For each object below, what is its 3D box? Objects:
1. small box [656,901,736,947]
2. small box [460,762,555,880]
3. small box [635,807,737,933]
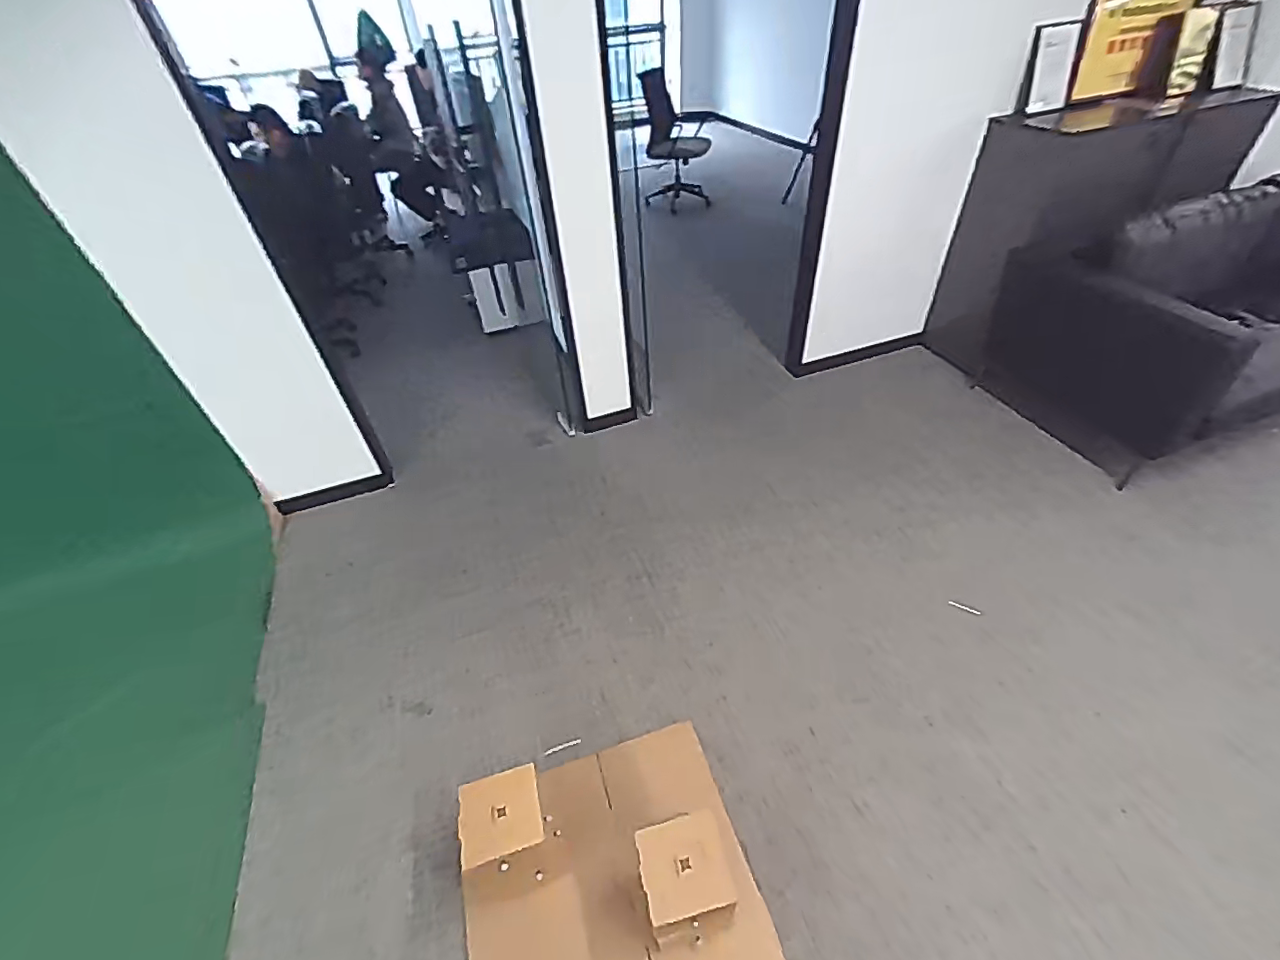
[{"bbox_3d":[0.108,0.951,1.259,0.179,0.176,0.168,-13,44,-9],"label":"small box"},{"bbox_3d":[-0.297,0.779,1.236,0.179,0.176,0.168,-15,45,-9],"label":"small box"},{"bbox_3d":[0.095,0.830,1.148,0.179,0.176,0.168,-12,44,-7],"label":"small box"}]
